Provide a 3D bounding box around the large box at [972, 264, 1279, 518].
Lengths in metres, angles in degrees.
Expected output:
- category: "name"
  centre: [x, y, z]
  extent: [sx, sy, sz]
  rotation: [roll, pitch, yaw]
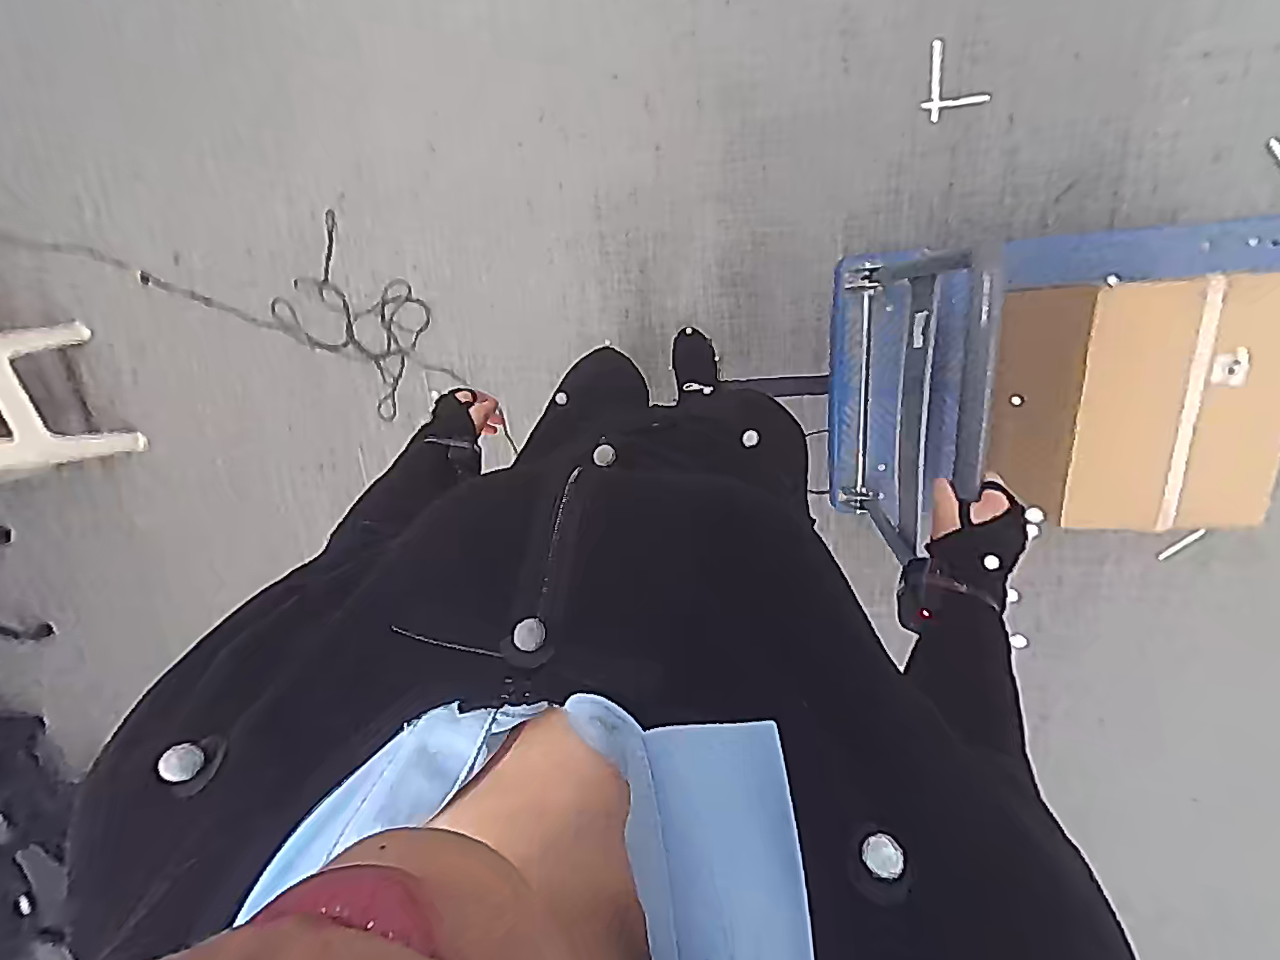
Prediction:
- category: "large box"
  centre: [0.873, -0.167, 1.028]
  extent: [0.320, 0.320, 0.408]
  rotation: [-2, 105, 7]
